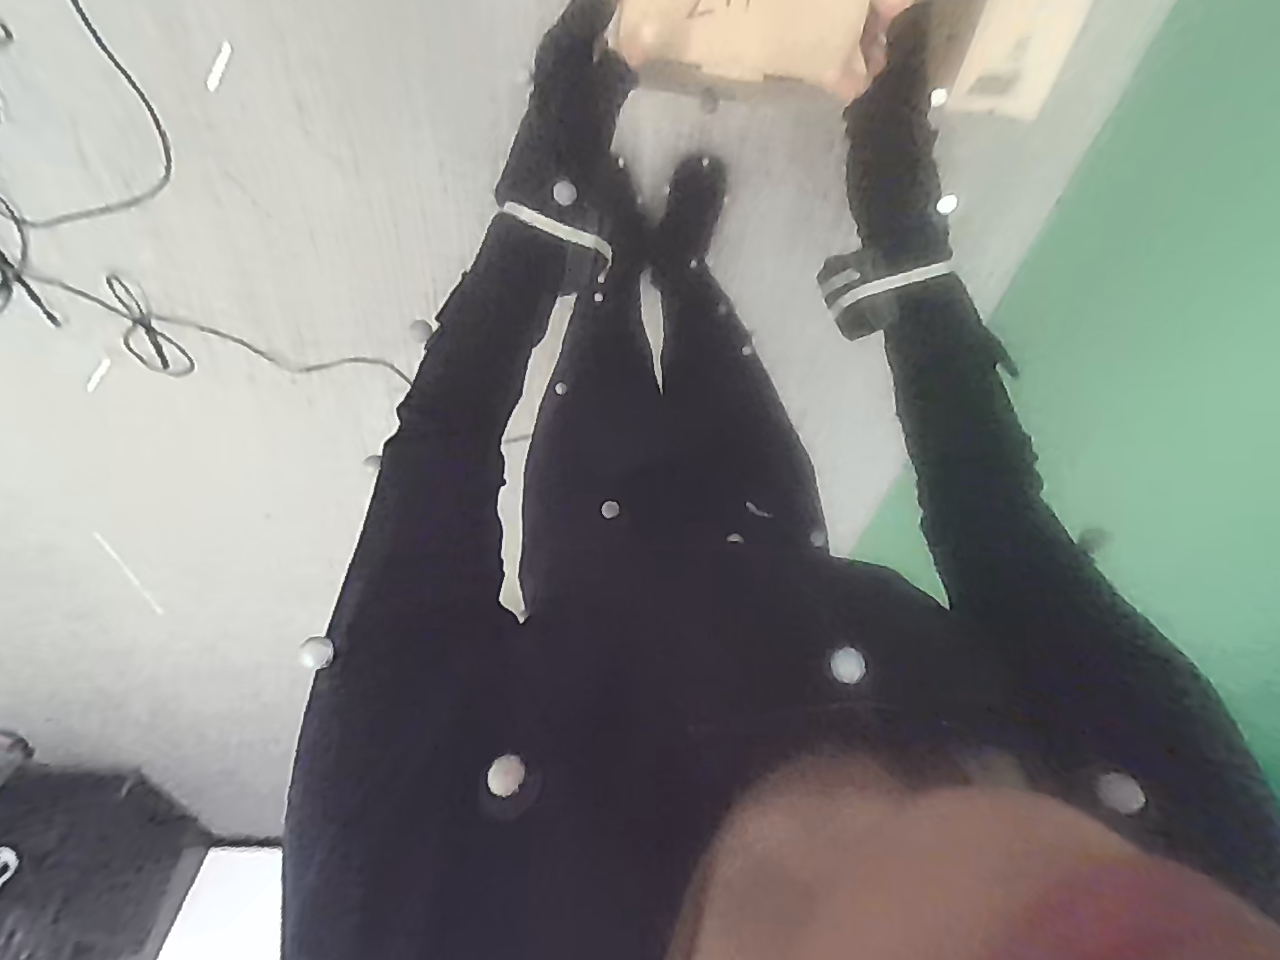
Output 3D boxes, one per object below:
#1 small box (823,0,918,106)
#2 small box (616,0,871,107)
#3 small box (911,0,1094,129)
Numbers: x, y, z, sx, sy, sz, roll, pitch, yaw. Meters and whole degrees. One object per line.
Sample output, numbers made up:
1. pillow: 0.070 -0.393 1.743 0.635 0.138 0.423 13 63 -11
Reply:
1. small box: 0.325 -0.745 0.890 0.168 0.176 0.179 6 131 -7
2. small box: 0.074 -0.394 0.393 0.168 0.176 0.179 6 121 -3
3. small box: 0.592 -0.720 0.917 0.168 0.176 0.179 4 130 -5
